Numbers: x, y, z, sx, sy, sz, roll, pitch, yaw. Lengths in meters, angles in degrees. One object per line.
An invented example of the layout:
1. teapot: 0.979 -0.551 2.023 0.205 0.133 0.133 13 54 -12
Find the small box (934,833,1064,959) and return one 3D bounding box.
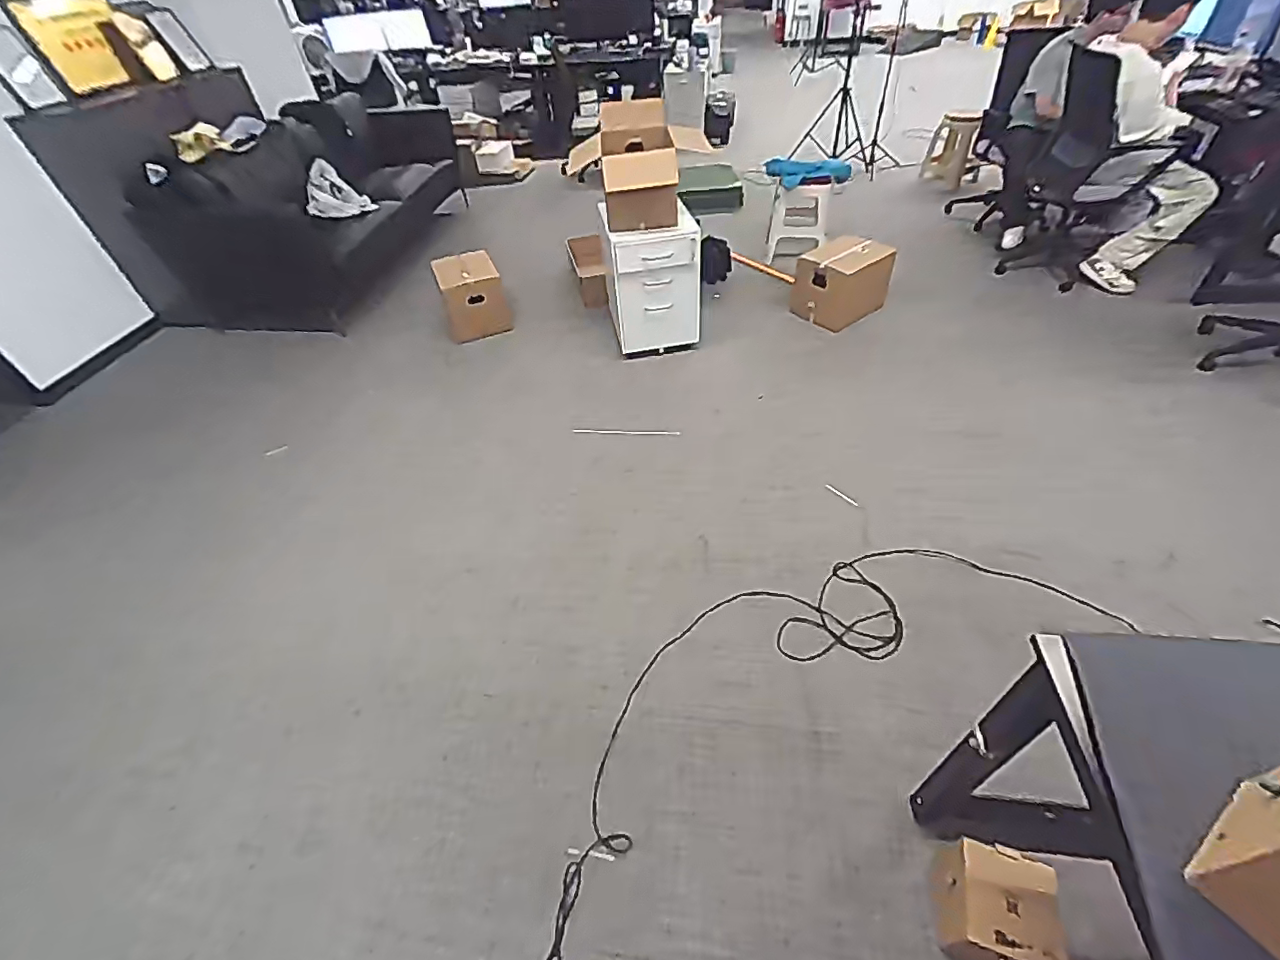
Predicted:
1. small box: 0.701 0.853 1.079 0.168 0.176 0.179 12 46 17
